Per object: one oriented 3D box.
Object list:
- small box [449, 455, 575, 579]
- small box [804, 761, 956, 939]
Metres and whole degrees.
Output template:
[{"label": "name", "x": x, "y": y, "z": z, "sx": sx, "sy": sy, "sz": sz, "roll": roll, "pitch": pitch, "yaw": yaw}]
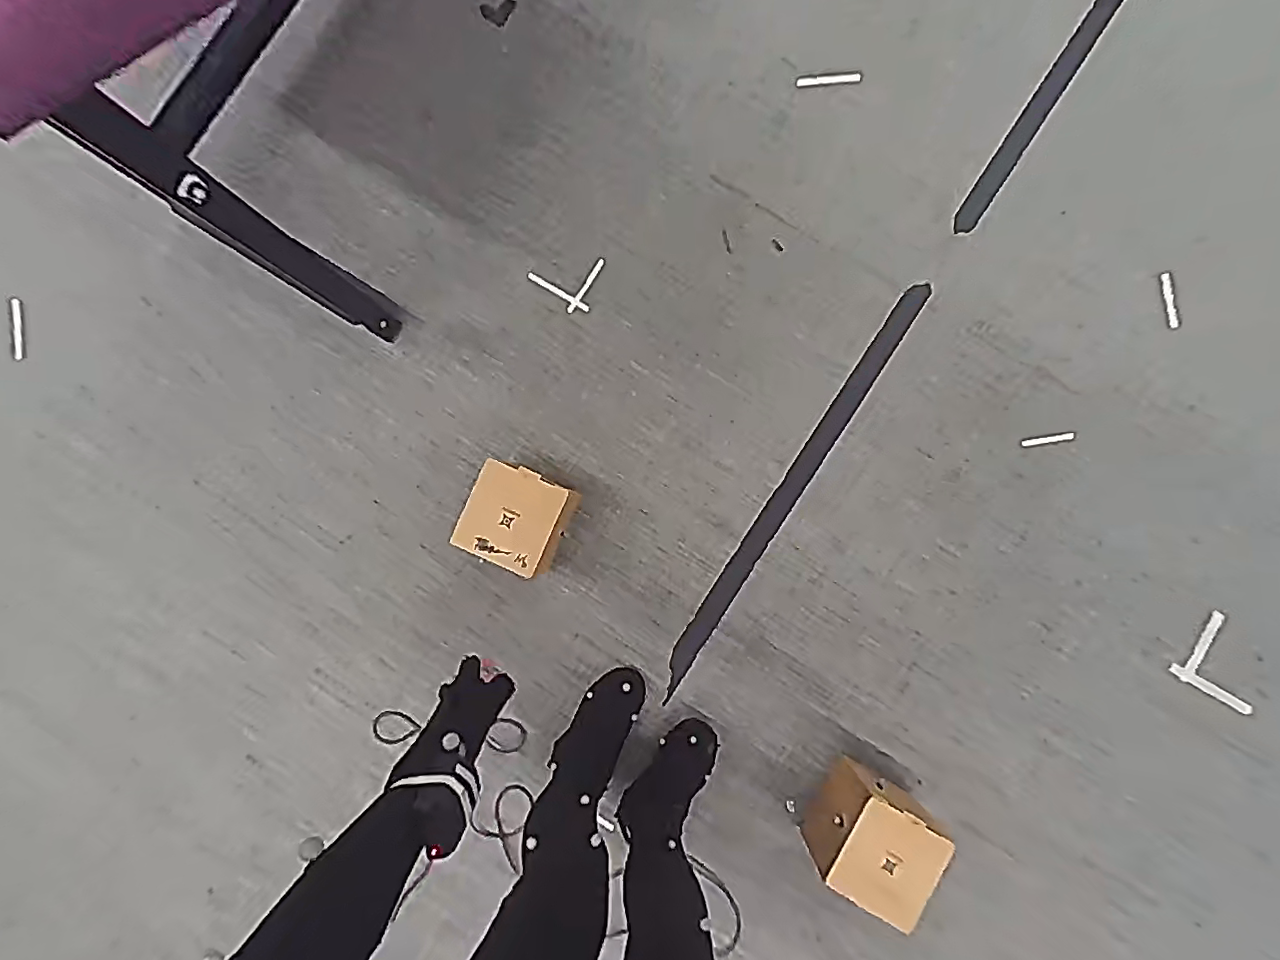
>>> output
[{"label": "small box", "x": -0.234, "y": 0.072, "z": 1.045, "sx": 0.168, "sy": 0.176, "sz": 0.179, "roll": 24, "pitch": 86, "yaw": 3}, {"label": "small box", "x": 0.424, "y": 0.659, "z": 0.989, "sx": 0.168, "sy": 0.176, "sz": 0.179, "roll": 30, "pitch": 88, "yaw": 4}]
